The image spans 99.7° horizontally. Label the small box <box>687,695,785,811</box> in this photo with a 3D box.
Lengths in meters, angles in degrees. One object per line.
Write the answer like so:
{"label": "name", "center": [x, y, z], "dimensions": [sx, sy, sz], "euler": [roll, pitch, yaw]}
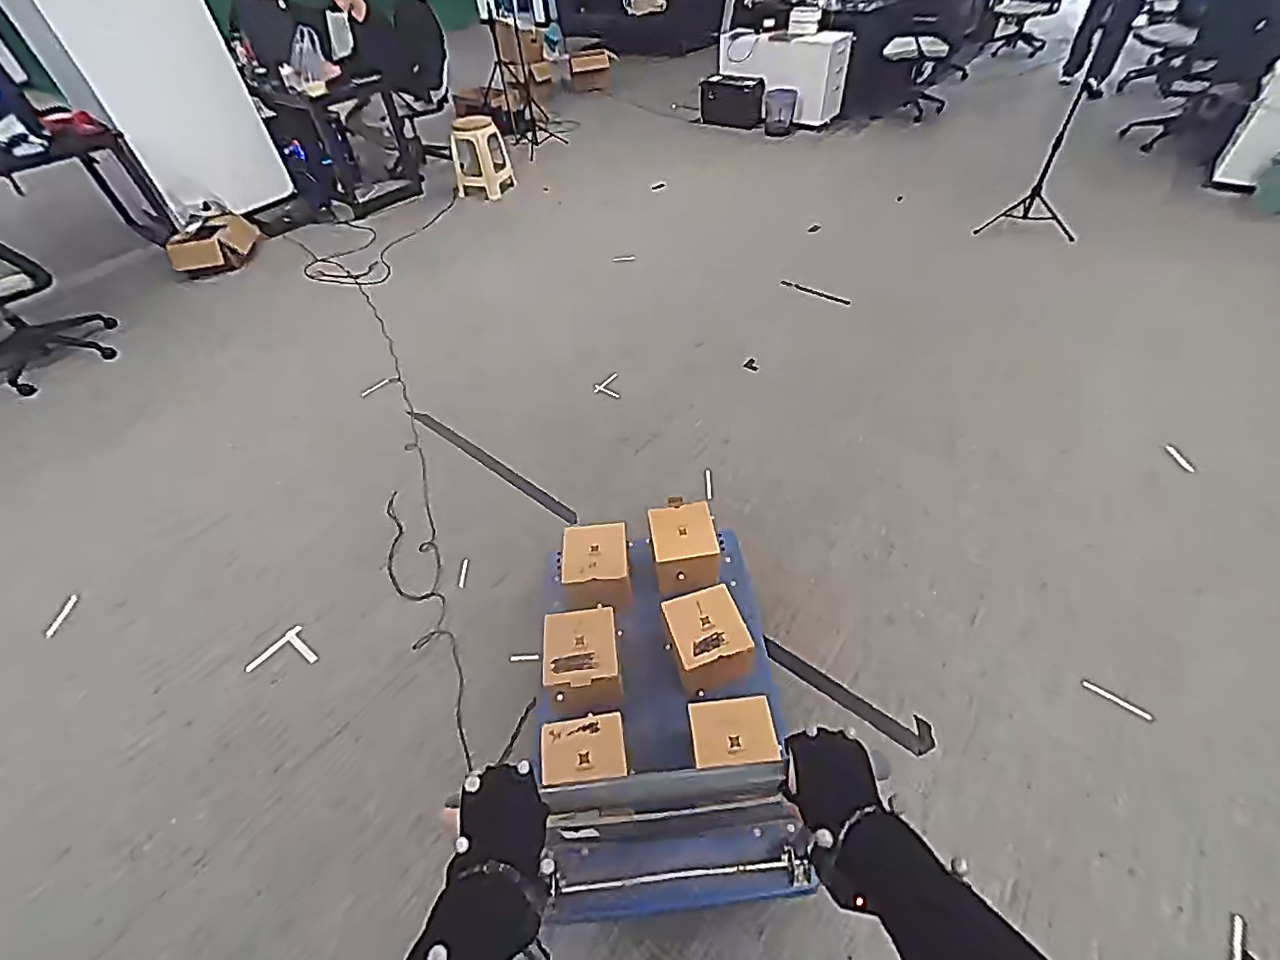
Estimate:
{"label": "small box", "center": [0.192, 0.572, 1.124], "dimensions": [0.168, 0.176, 0.179], "euler": [-6, 47, -1]}

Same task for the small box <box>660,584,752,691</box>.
{"label": "small box", "center": [0.155, 0.385, 1.298], "dimensions": [0.168, 0.176, 0.179], "euler": [-15, 47, -9]}

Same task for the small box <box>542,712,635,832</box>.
{"label": "small box", "center": [-0.104, 0.606, 1.115], "dimensions": [0.168, 0.176, 0.179], "euler": [-8, 47, -4]}

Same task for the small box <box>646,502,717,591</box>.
{"label": "small box", "center": [0.114, 0.188, 1.483], "dimensions": [0.168, 0.176, 0.179], "euler": [-9, 47, -2]}

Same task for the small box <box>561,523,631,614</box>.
{"label": "small box", "center": [-0.114, 0.240, 1.454], "dimensions": [0.168, 0.176, 0.179], "euler": [-5, 48, 1]}
